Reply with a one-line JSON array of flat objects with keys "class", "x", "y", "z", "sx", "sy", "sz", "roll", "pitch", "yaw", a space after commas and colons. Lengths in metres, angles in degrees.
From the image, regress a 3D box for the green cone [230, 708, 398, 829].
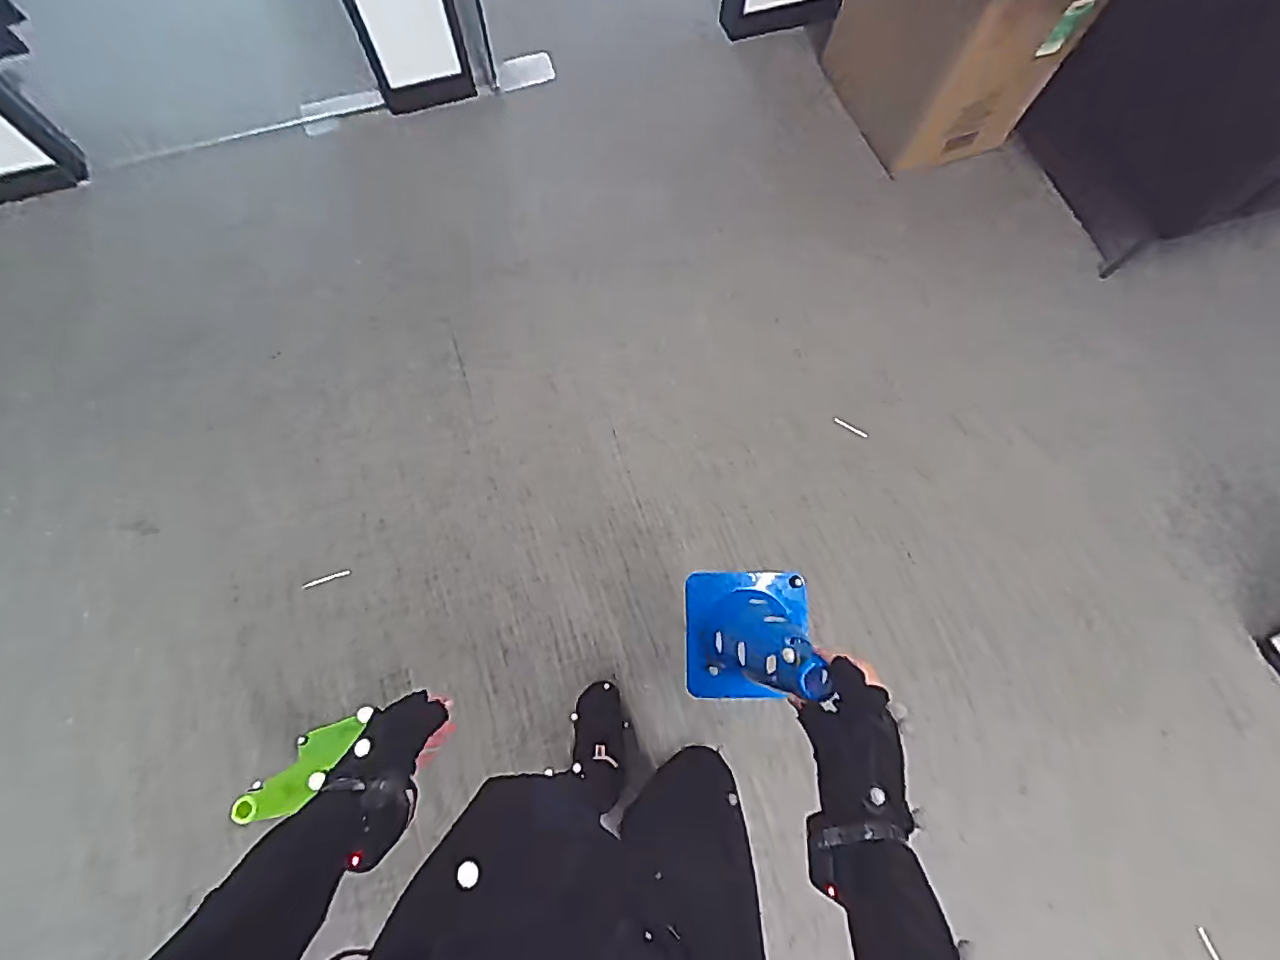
[{"class": "green cone", "x": -0.645, "y": 0.584, "z": 1.030, "sx": 0.202, "sy": 0.368, "sz": 0.200, "roll": -19, "pitch": 75, "yaw": -8}]
